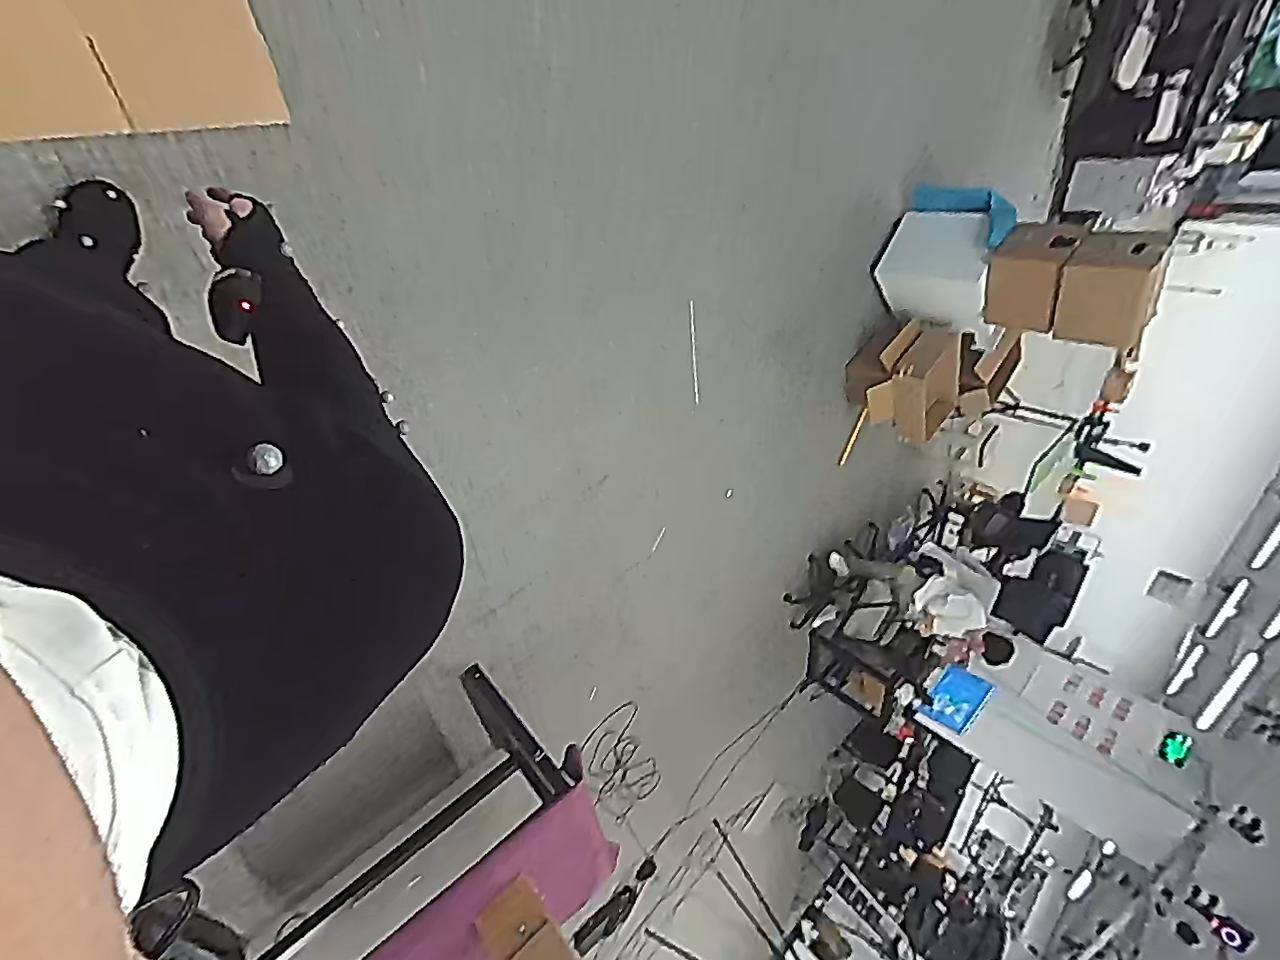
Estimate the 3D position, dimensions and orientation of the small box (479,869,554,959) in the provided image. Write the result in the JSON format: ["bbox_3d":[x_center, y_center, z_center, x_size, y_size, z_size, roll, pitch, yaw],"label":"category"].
[{"bbox_3d":[-0.355,1.319,1.604,0.179,0.176,0.168,-33,130,-30],"label":"small box"}]

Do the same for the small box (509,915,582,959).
[{"bbox_3d":[-0.250,1.365,1.484,0.179,0.176,0.168,-31,130,-30],"label":"small box"}]
